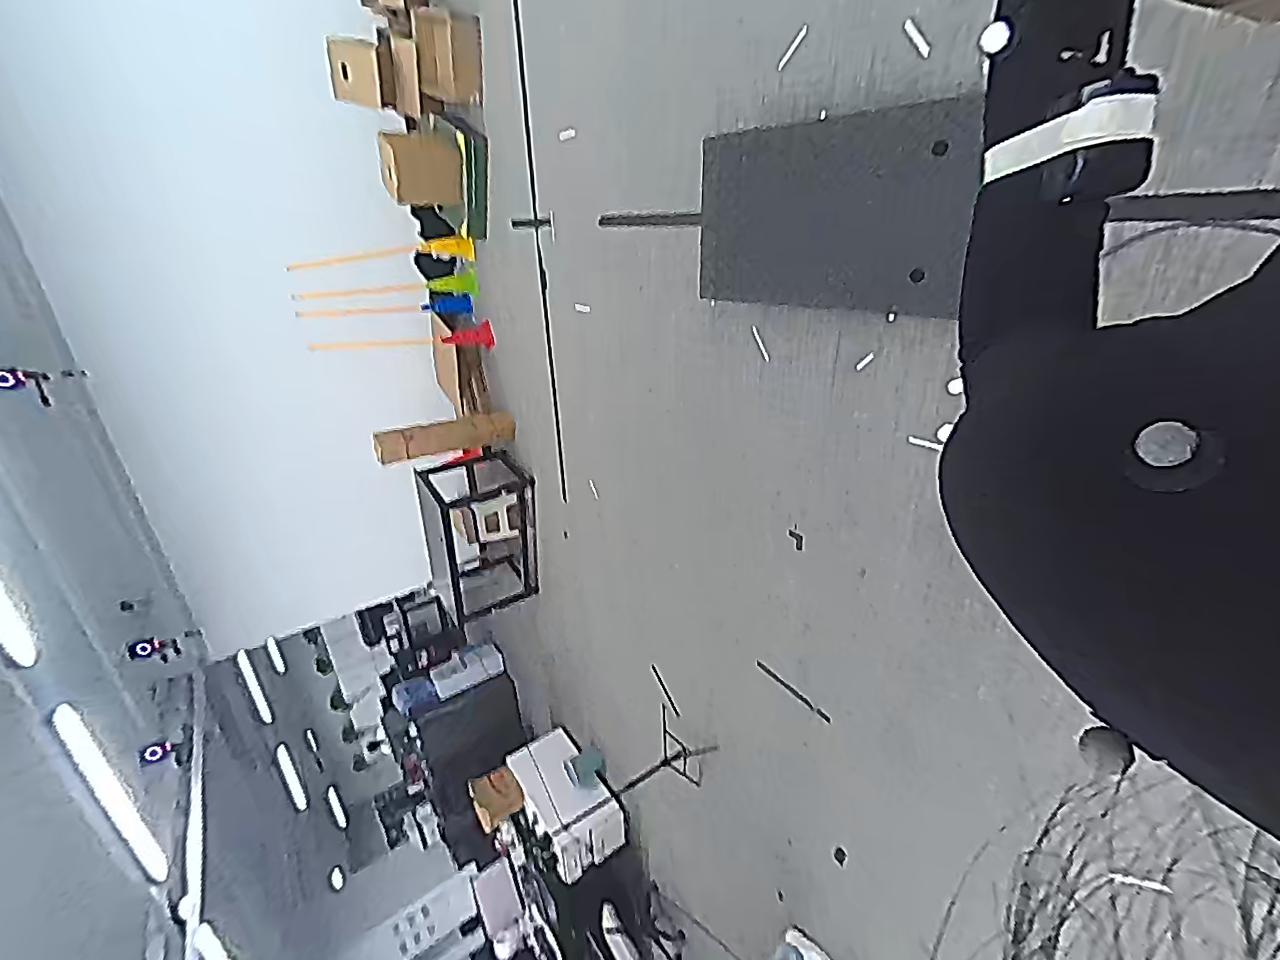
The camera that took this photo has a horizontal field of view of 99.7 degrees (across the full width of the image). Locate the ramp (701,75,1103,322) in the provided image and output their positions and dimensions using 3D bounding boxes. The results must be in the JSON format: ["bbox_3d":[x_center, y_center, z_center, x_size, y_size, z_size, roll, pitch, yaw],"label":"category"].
[{"bbox_3d":[0.576,-0.727,1.489,0.991,0.206,0.509,27,126,48],"label":"ramp"}]
